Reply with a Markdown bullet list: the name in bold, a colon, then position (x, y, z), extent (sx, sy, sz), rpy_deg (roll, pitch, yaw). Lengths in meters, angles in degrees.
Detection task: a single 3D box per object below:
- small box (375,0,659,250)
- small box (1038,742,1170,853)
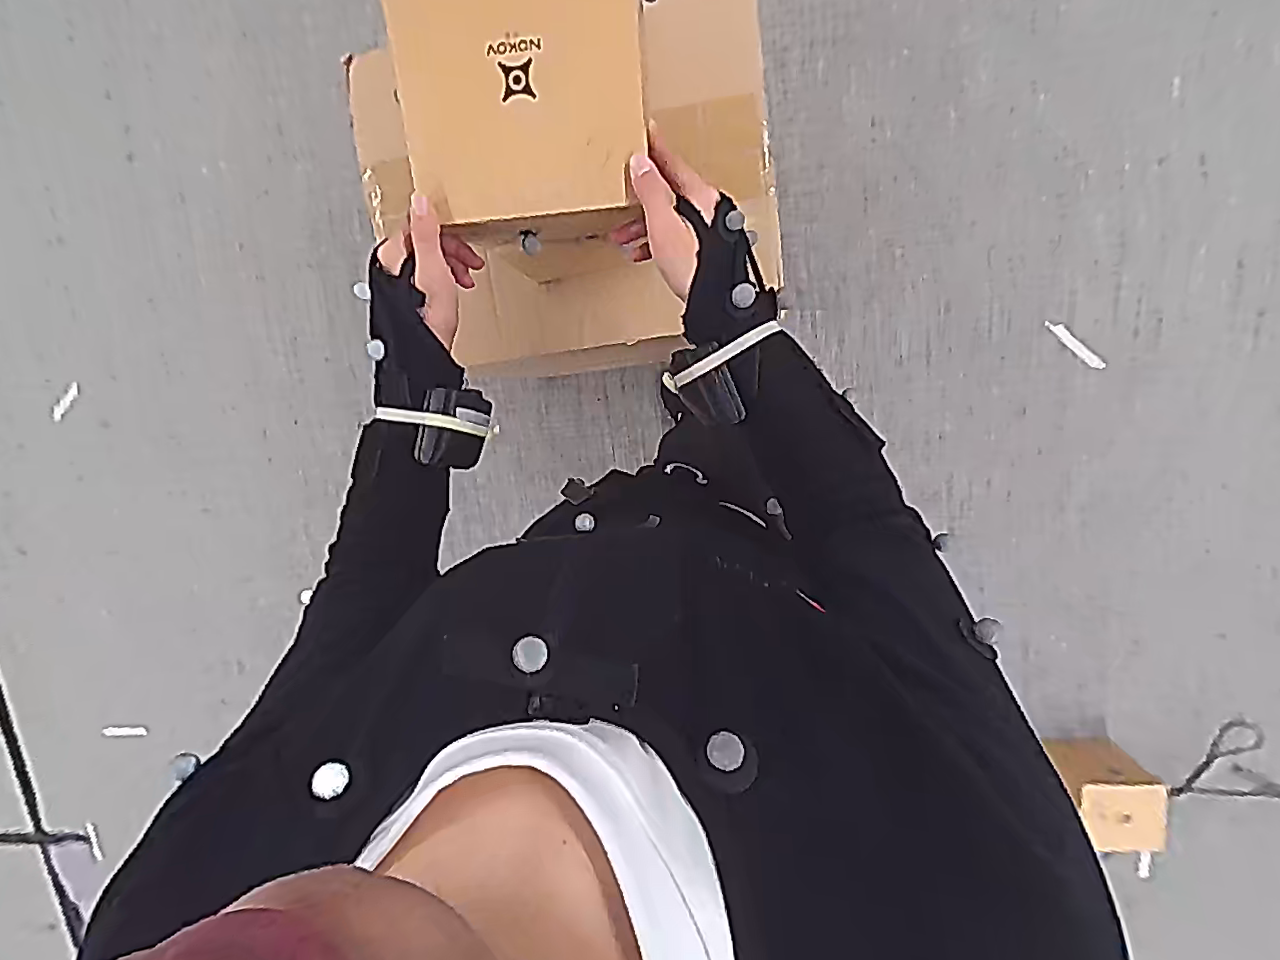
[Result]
- **small box**: position (-0.074, -0.281, 0.418), extent (0.168, 0.176, 0.179), rpy_deg (-4, 106, 5)
- **small box**: position (1.096, 0.748, 1.289), extent (0.179, 0.176, 0.168), rpy_deg (-3, 97, 7)
